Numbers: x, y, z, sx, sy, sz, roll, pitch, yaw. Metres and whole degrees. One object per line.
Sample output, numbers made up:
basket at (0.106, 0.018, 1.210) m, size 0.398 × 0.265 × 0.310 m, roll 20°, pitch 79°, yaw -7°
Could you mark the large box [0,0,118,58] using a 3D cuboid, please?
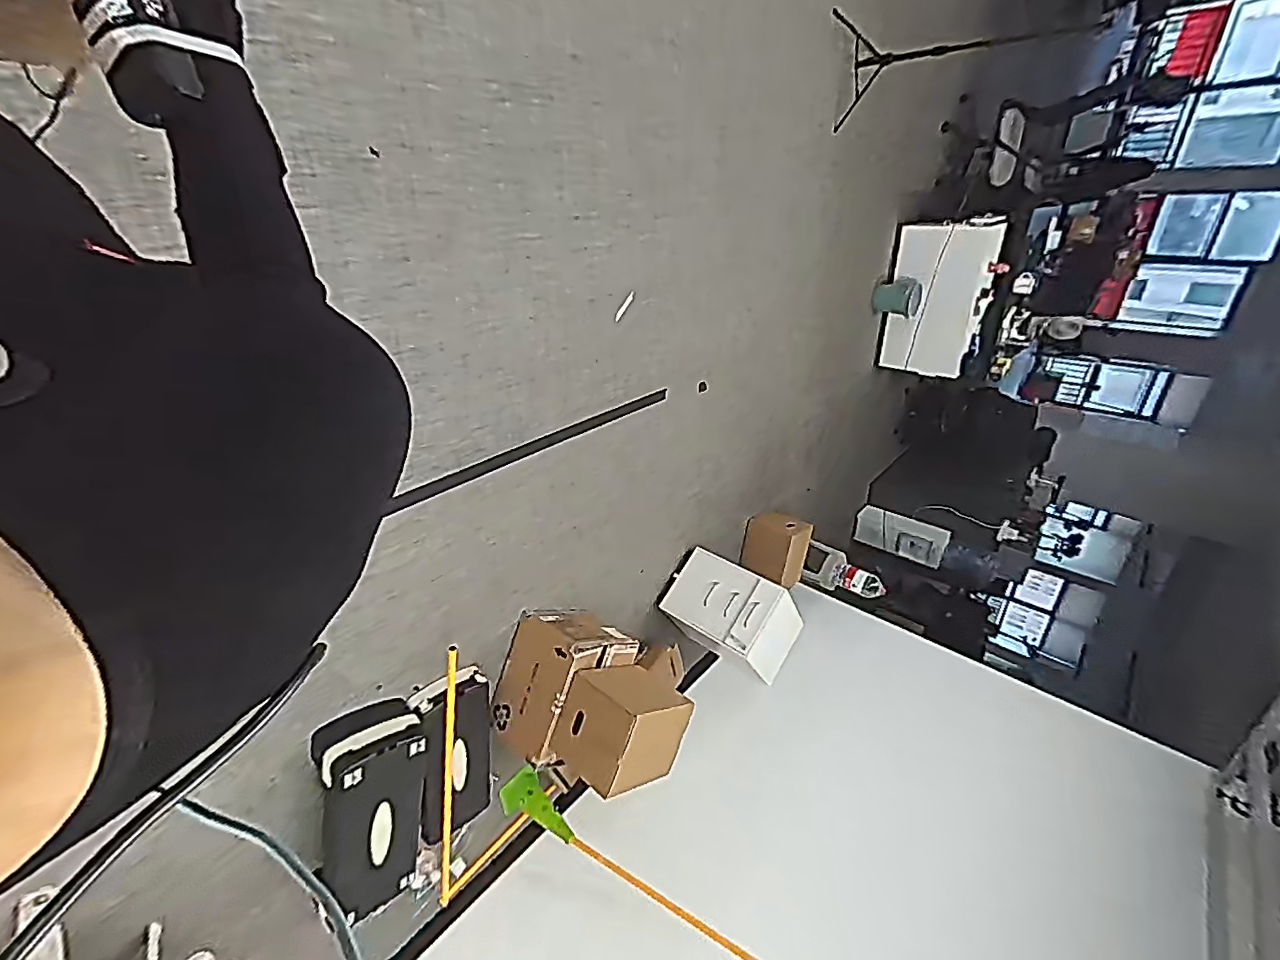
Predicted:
large box at (-0.591, -0.450, 0.263) m, size 0.408 × 0.320 × 0.320 m, roll -27°, pitch 128°, yaw -42°
